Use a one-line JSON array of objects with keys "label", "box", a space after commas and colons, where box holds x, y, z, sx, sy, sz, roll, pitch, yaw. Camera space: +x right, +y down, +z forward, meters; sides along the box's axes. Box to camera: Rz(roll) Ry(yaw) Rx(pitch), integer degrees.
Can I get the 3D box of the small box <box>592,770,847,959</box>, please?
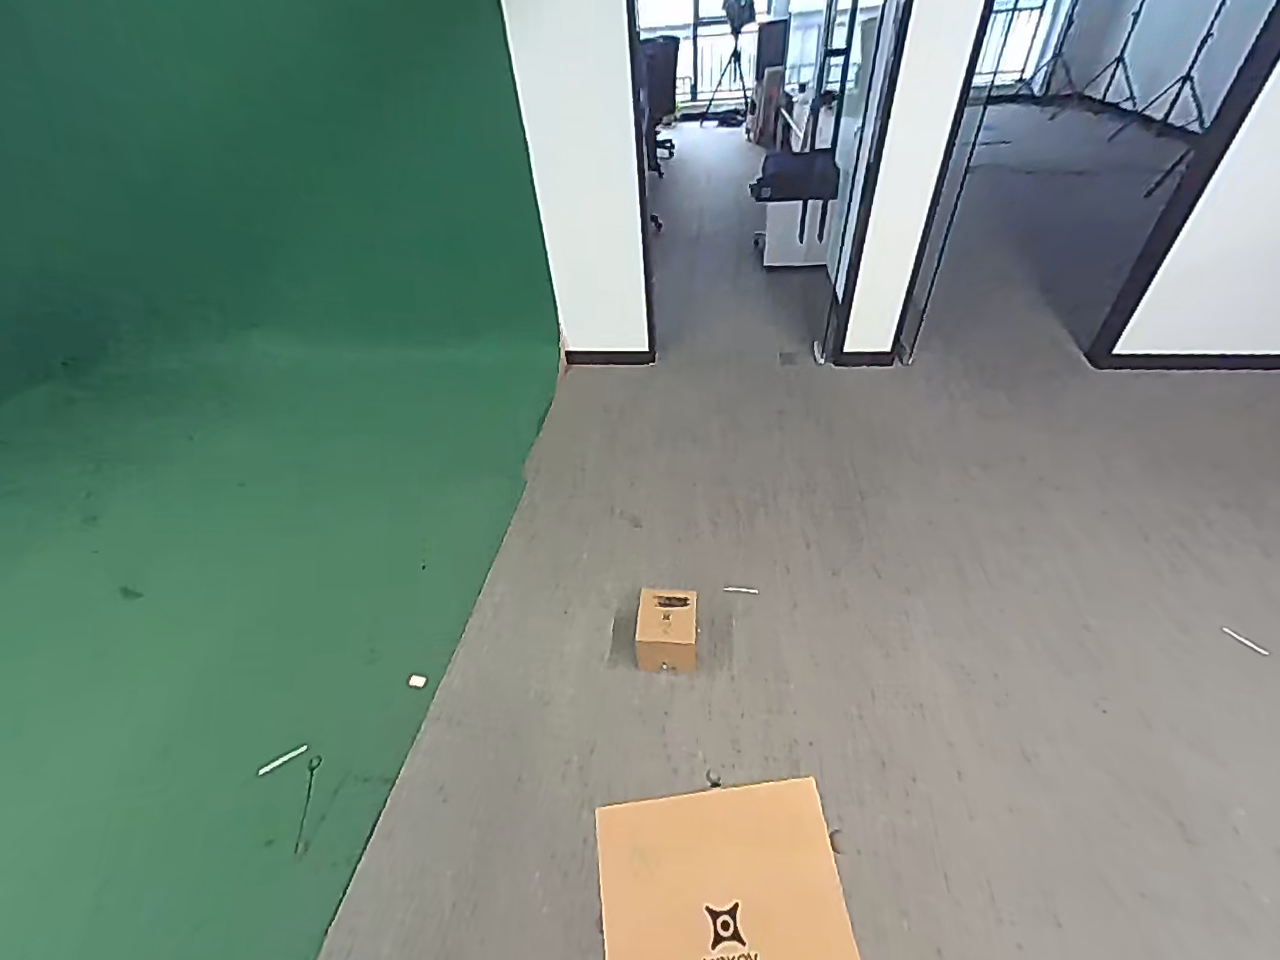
[{"label": "small box", "box": [0.065, 0.343, 0.434, 0.168, 0.176, 0.179, -11, 60, 6]}]
